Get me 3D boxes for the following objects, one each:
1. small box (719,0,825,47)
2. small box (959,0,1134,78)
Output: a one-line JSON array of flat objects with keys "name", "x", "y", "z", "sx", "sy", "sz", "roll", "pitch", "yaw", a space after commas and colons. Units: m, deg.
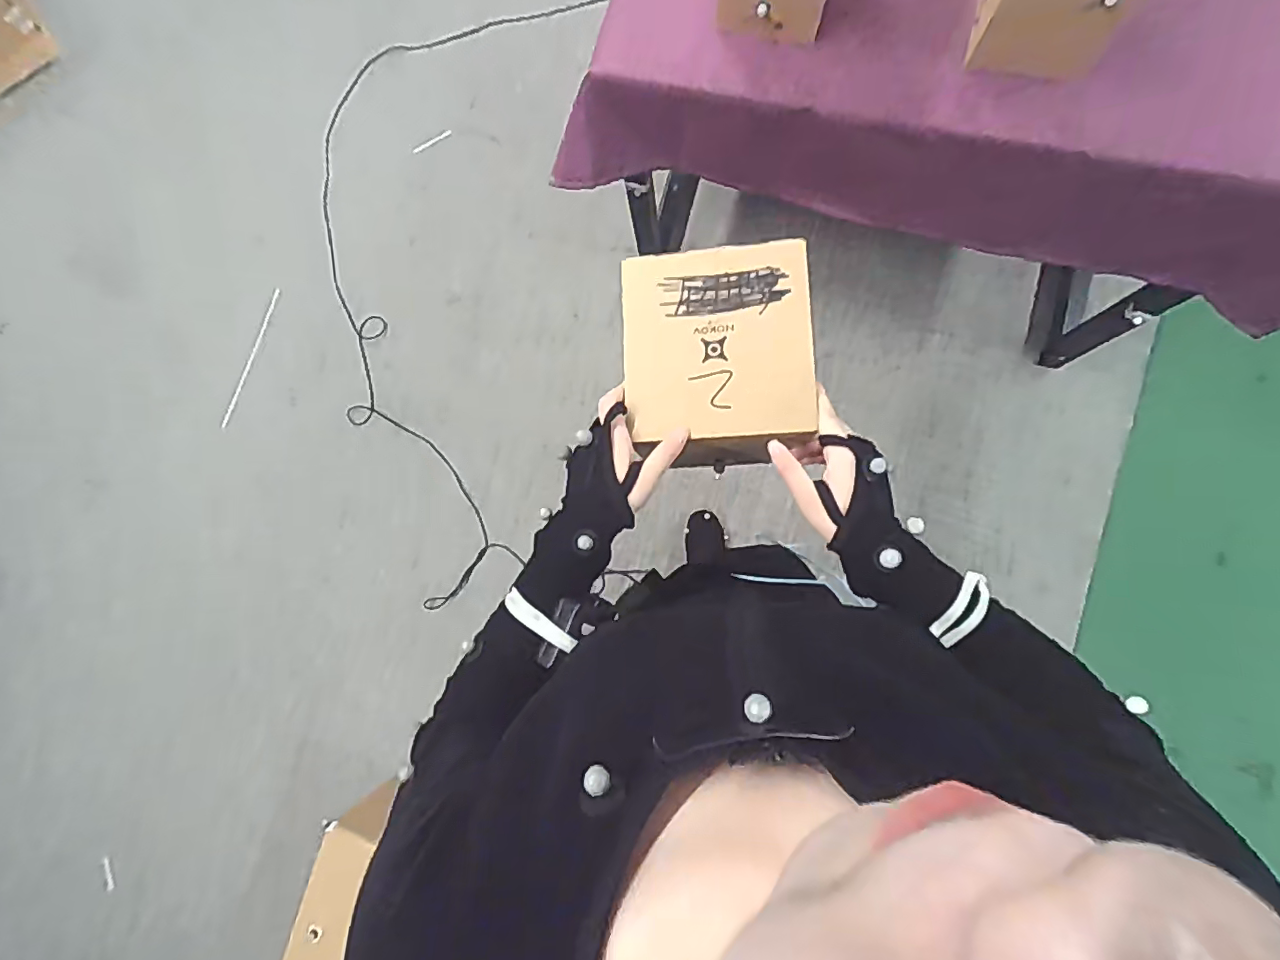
[{"name": "small box", "x": 0.222, "y": -0.833, "z": 0.837, "sx": 0.168, "sy": 0.176, "sz": 0.179, "roll": 16, "pitch": 84, "yaw": 8}, {"name": "small box", "x": 0.602, "y": -0.727, "z": 0.779, "sx": 0.179, "sy": 0.176, "sz": 0.168, "roll": 14, "pitch": 82, "yaw": 8}]
